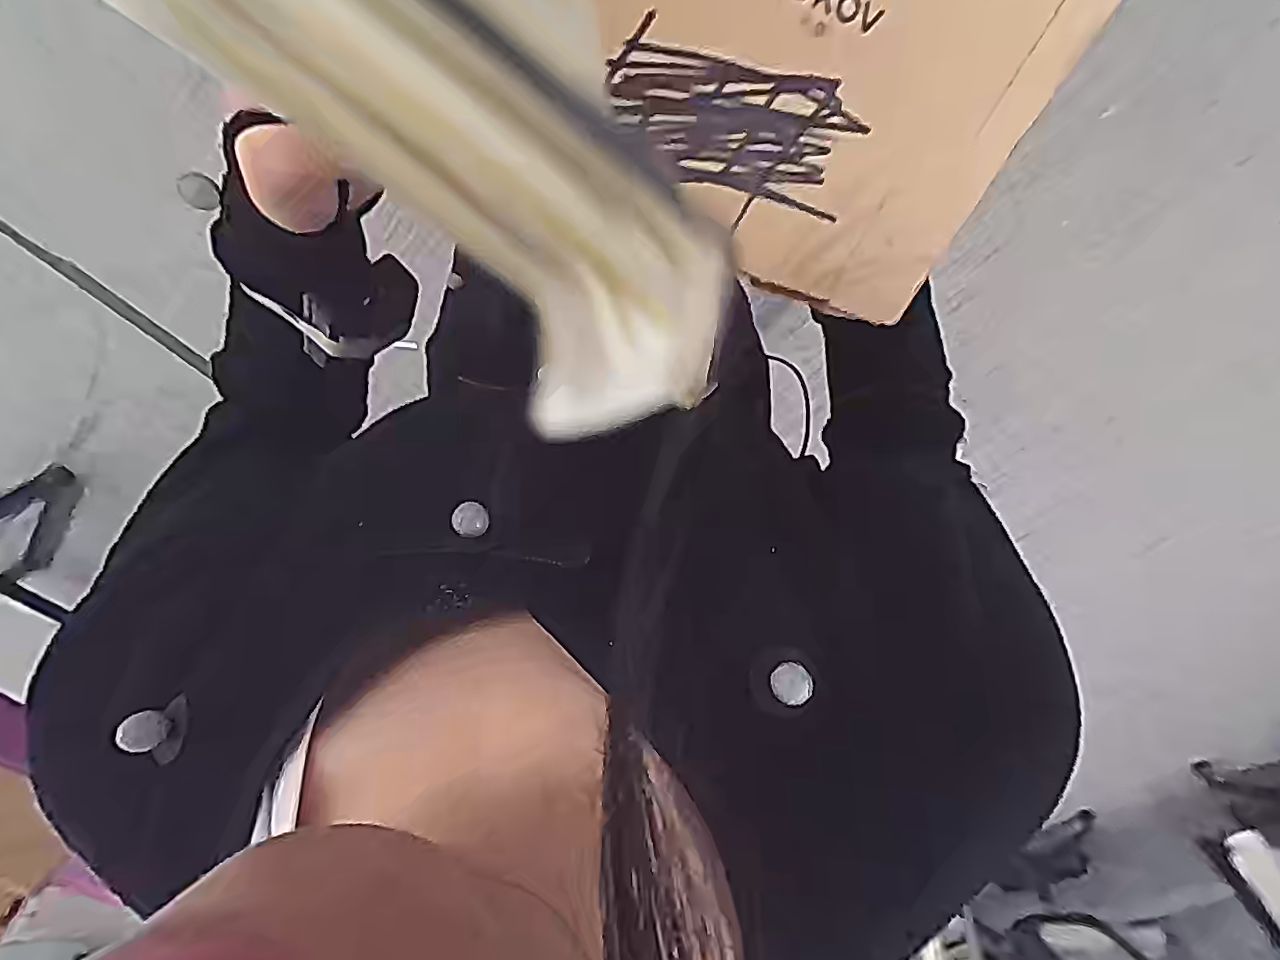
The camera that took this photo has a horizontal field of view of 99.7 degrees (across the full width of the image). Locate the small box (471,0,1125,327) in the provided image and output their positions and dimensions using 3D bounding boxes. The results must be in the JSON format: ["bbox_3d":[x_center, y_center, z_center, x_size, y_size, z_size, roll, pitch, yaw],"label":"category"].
[{"bbox_3d":[0.042,-0.190,0.197,0.168,0.176,0.179,9,131,-18],"label":"small box"}]
